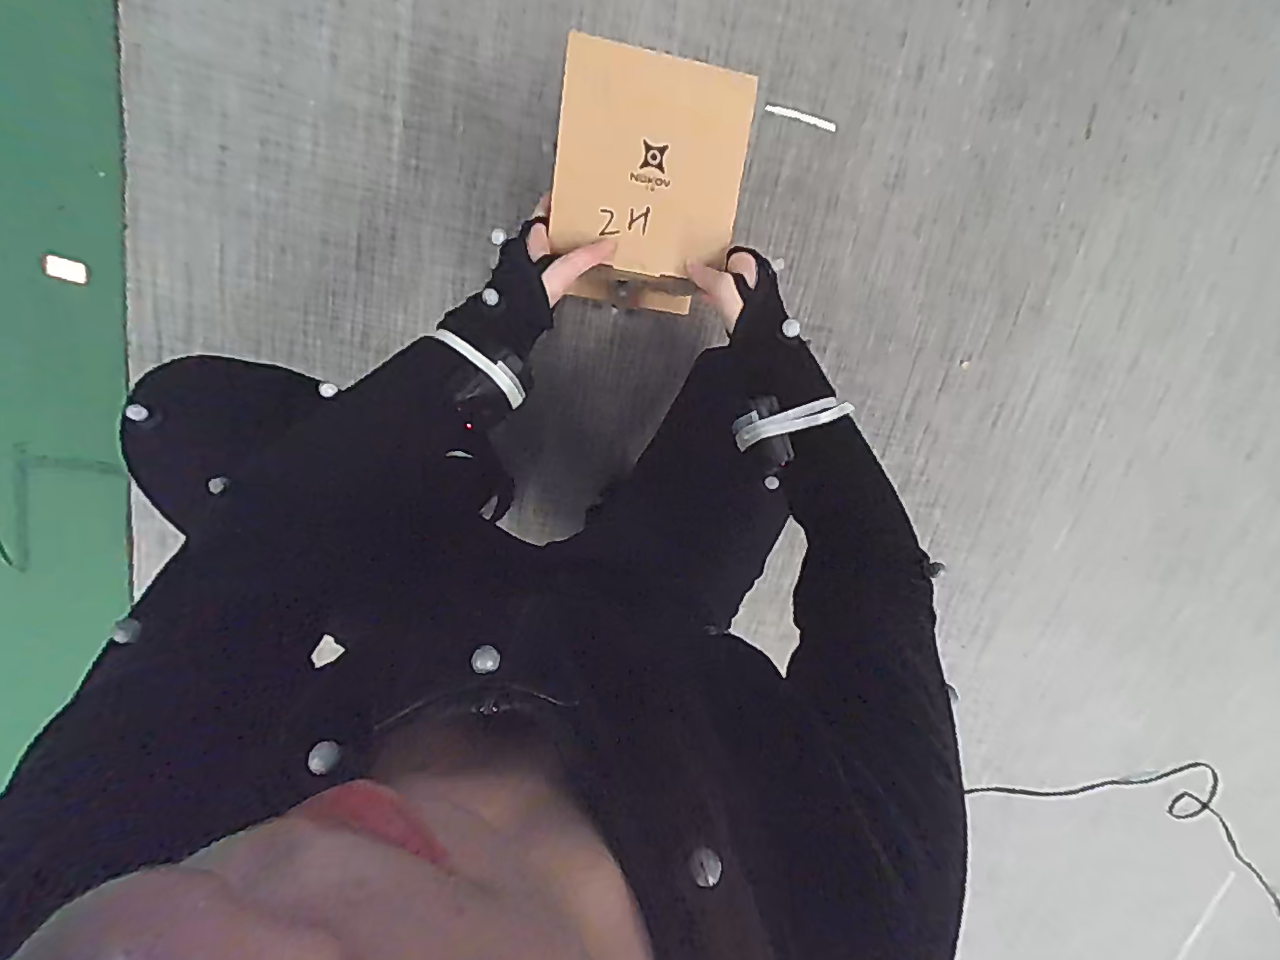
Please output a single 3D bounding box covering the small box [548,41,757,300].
[{"bbox_3d":[0.001,-0.292,0.556,0.168,0.176,0.179,8,105,-8],"label":"small box"}]
